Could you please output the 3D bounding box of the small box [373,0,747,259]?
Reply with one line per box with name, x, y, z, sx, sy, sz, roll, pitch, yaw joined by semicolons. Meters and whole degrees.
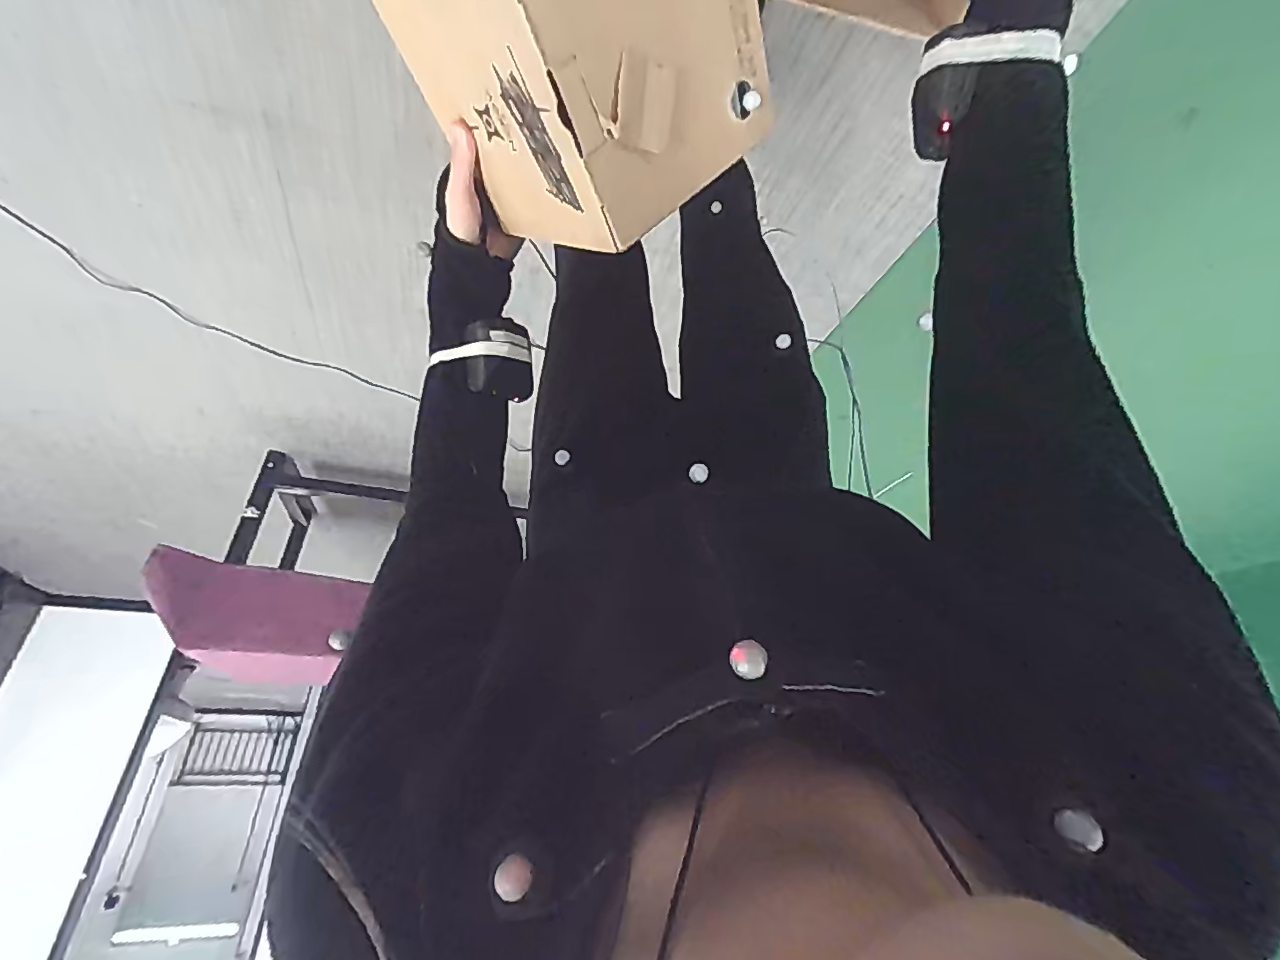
small box;-0.043;-0.286;0.383;0.179;0.176;0.168;33;160;42
